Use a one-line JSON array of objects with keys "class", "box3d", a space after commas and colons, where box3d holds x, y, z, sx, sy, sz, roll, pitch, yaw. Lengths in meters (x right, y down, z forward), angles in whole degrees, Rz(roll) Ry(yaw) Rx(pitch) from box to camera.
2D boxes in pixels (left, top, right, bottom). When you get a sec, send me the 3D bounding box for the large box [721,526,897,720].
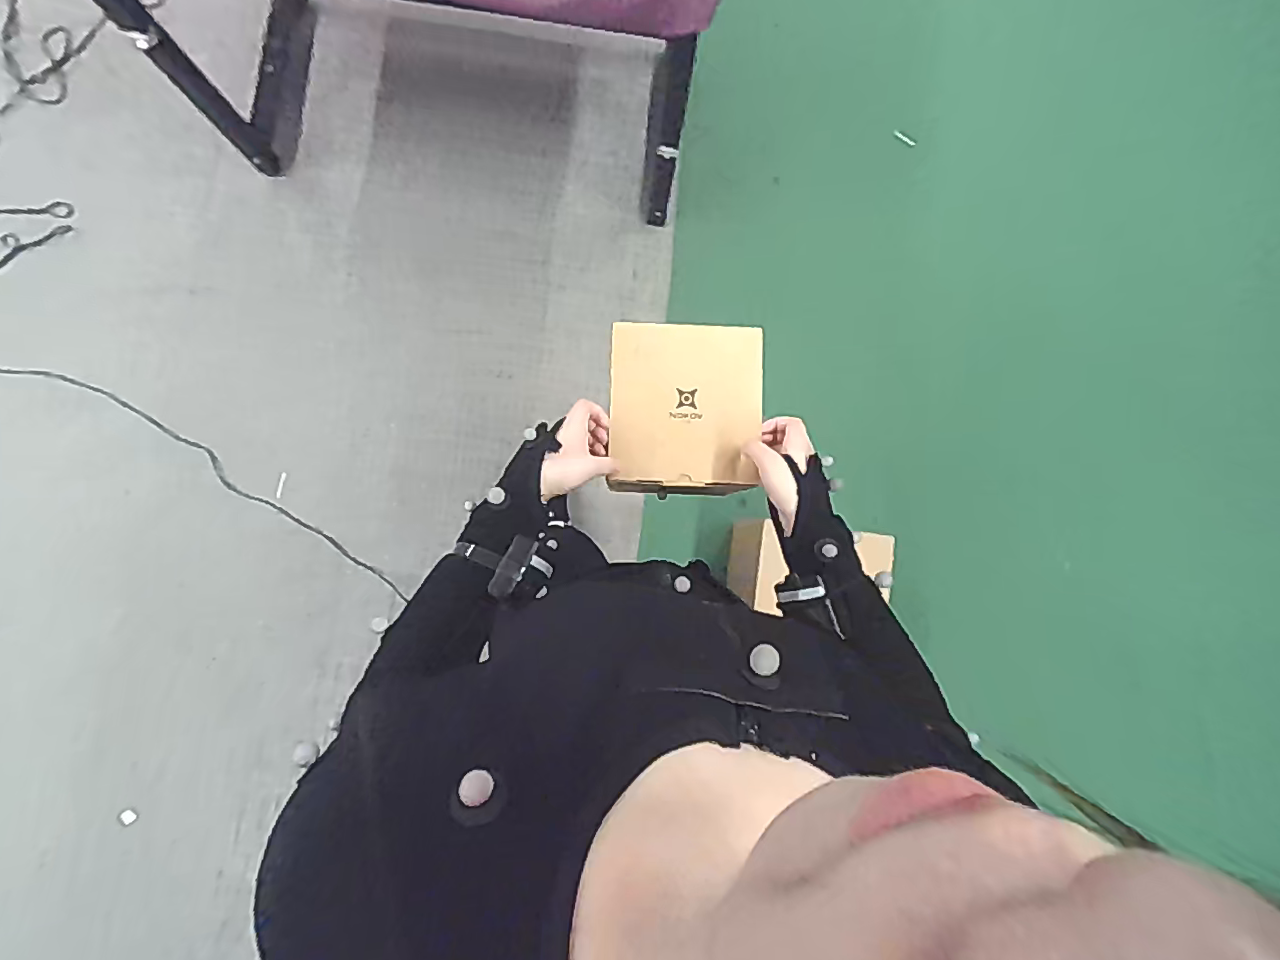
[{"class": "large box", "box3d": [0.403, 0.329, 1.355, 0.320, 0.320, 0.408, 8, 84, -2]}]
